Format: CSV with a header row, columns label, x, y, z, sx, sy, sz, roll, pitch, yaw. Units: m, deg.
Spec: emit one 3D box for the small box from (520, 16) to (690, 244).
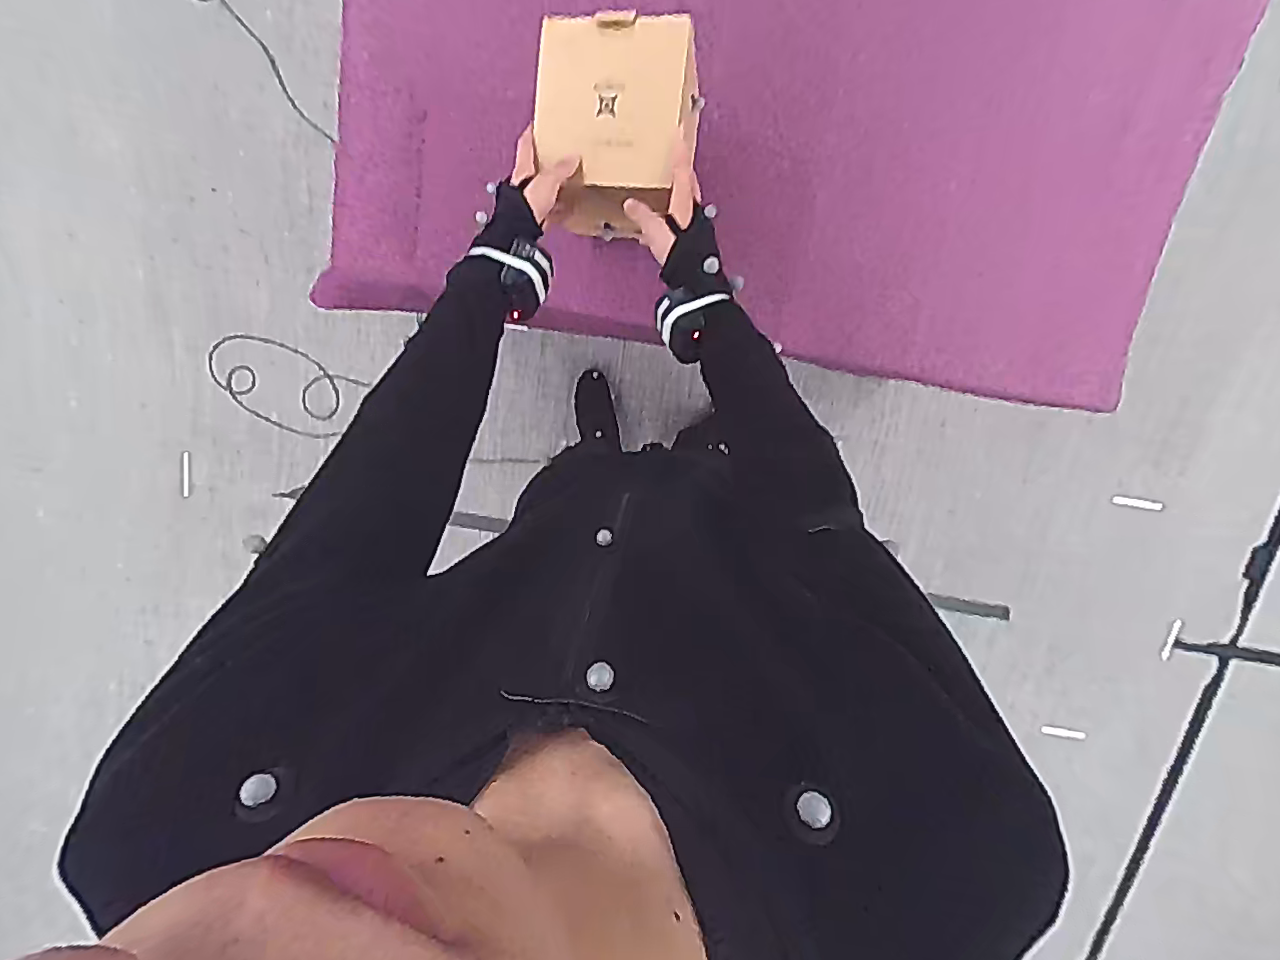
label,x,y,z,sx,sy,sz,roll,pitch,yaw
small box,-0.032,-0.411,0.659,0.168,0.176,0.179,7,96,9
